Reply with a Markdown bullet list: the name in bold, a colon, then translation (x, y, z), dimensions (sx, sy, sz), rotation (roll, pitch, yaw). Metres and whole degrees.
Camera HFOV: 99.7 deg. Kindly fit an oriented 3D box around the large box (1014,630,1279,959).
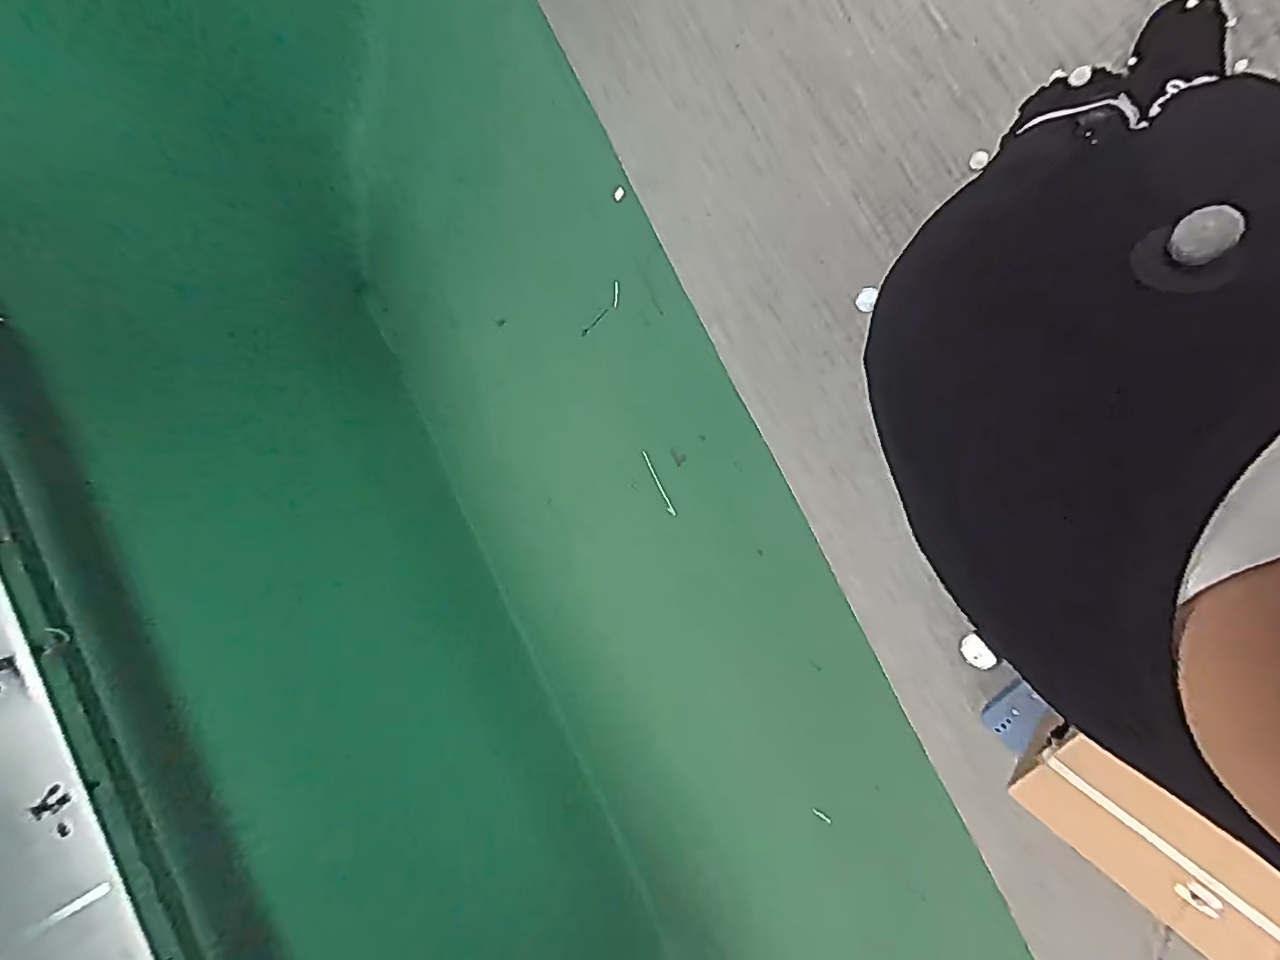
- **large box**: translation (1.021, 0.567, 1.003), dimensions (0.408, 0.320, 0.320), rotation (37, 135, 32)
